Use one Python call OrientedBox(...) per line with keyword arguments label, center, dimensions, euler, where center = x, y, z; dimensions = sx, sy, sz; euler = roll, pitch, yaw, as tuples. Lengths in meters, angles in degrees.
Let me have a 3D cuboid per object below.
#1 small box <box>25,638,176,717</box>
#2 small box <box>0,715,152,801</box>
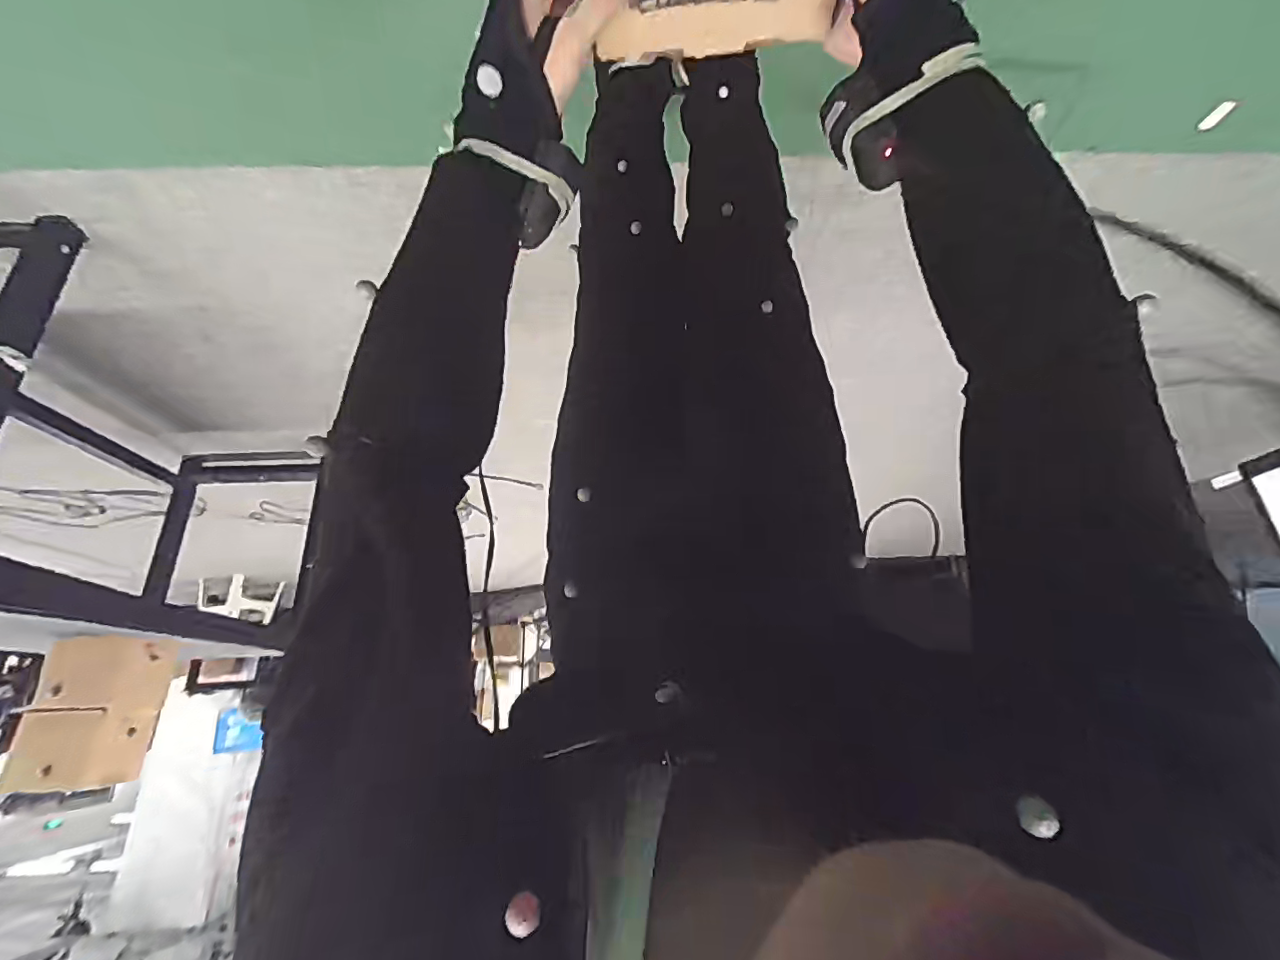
OrientedBox(label="small box", center=(-1.288, 0.480, 1.308), dimensions=(0.179, 0.176, 0.168), euler=(0, 158, -3))
OrientedBox(label="small box", center=(-1.292, 0.629, 1.242), dimensions=(0.179, 0.176, 0.168), euler=(0, 157, -4))
